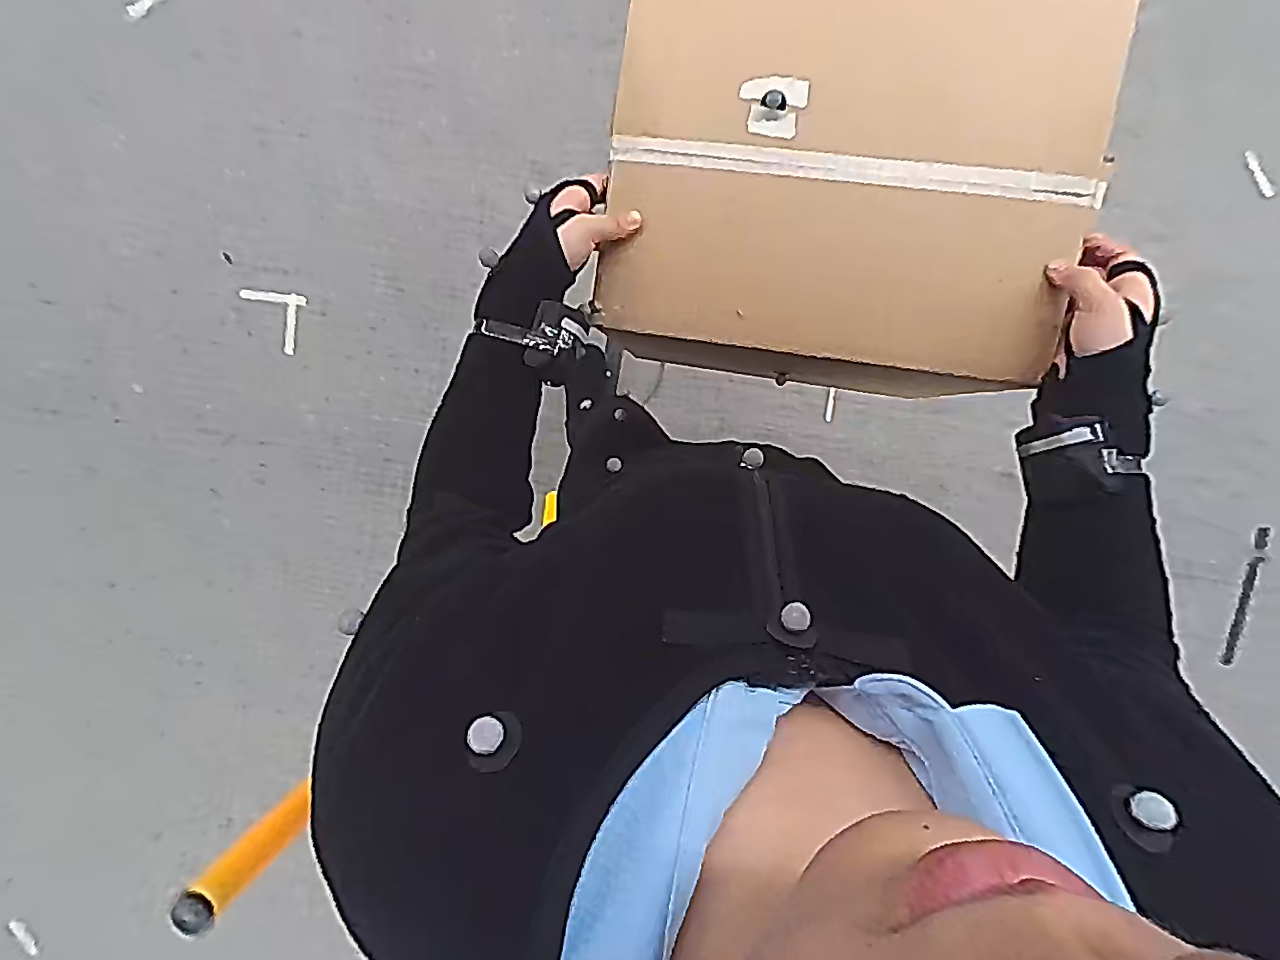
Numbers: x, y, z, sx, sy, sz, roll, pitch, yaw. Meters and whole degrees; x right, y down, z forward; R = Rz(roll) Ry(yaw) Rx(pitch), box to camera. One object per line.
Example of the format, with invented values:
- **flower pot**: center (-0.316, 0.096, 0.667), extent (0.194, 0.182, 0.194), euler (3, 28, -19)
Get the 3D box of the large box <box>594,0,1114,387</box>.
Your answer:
- **large box**: center (0.191, -0.287, 0.622), extent (0.408, 0.320, 0.320), euler (9, 97, 7)
